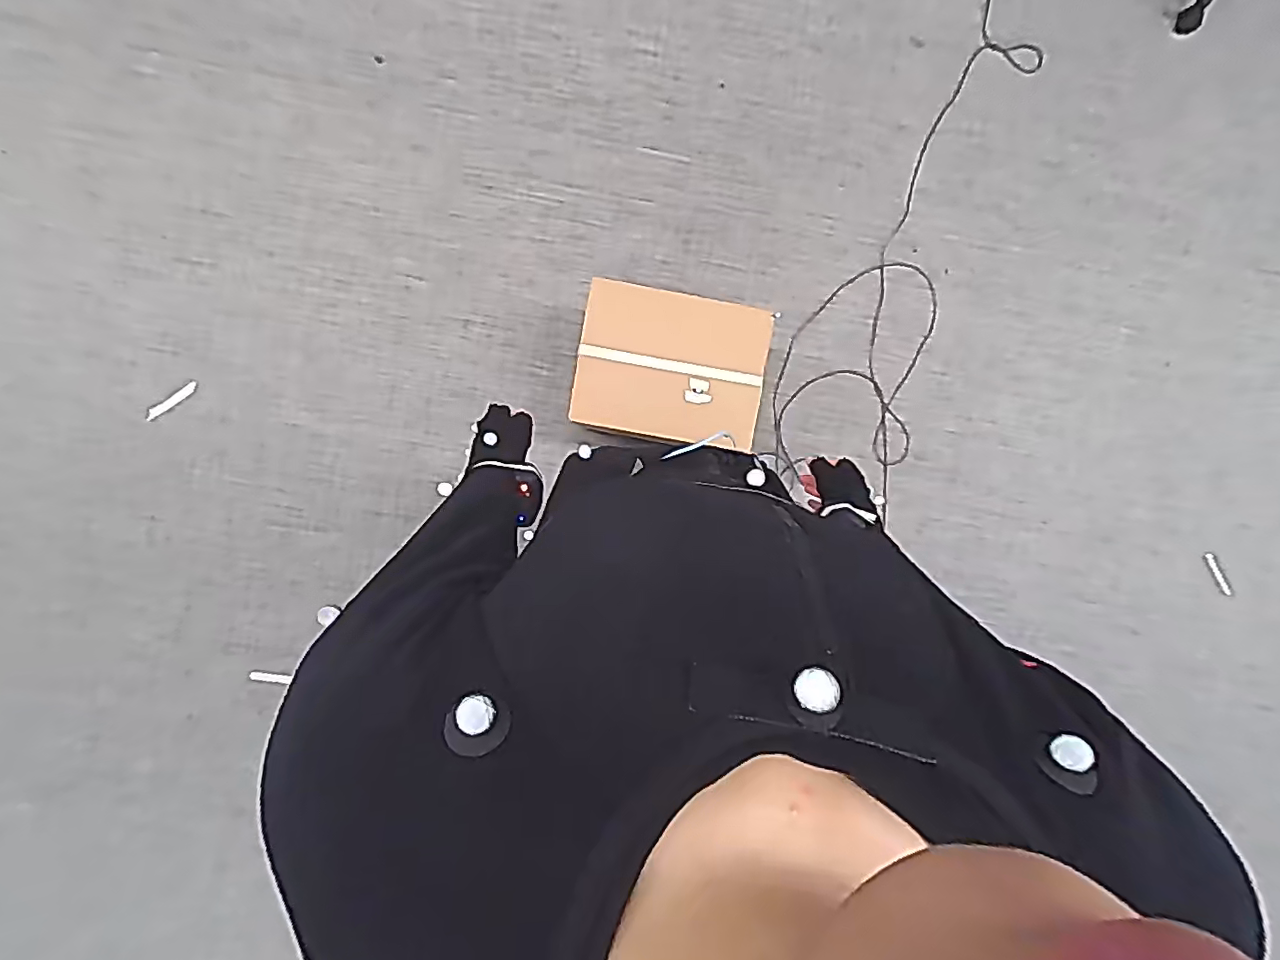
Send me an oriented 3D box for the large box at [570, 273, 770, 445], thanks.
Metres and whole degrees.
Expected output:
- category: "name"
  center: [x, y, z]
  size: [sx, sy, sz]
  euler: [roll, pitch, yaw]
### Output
- category: "large box"
  center: [0.056, -0.270, 1.321]
  size: [0.408, 0.320, 0.320]
  euler: [10, 93, -4]
